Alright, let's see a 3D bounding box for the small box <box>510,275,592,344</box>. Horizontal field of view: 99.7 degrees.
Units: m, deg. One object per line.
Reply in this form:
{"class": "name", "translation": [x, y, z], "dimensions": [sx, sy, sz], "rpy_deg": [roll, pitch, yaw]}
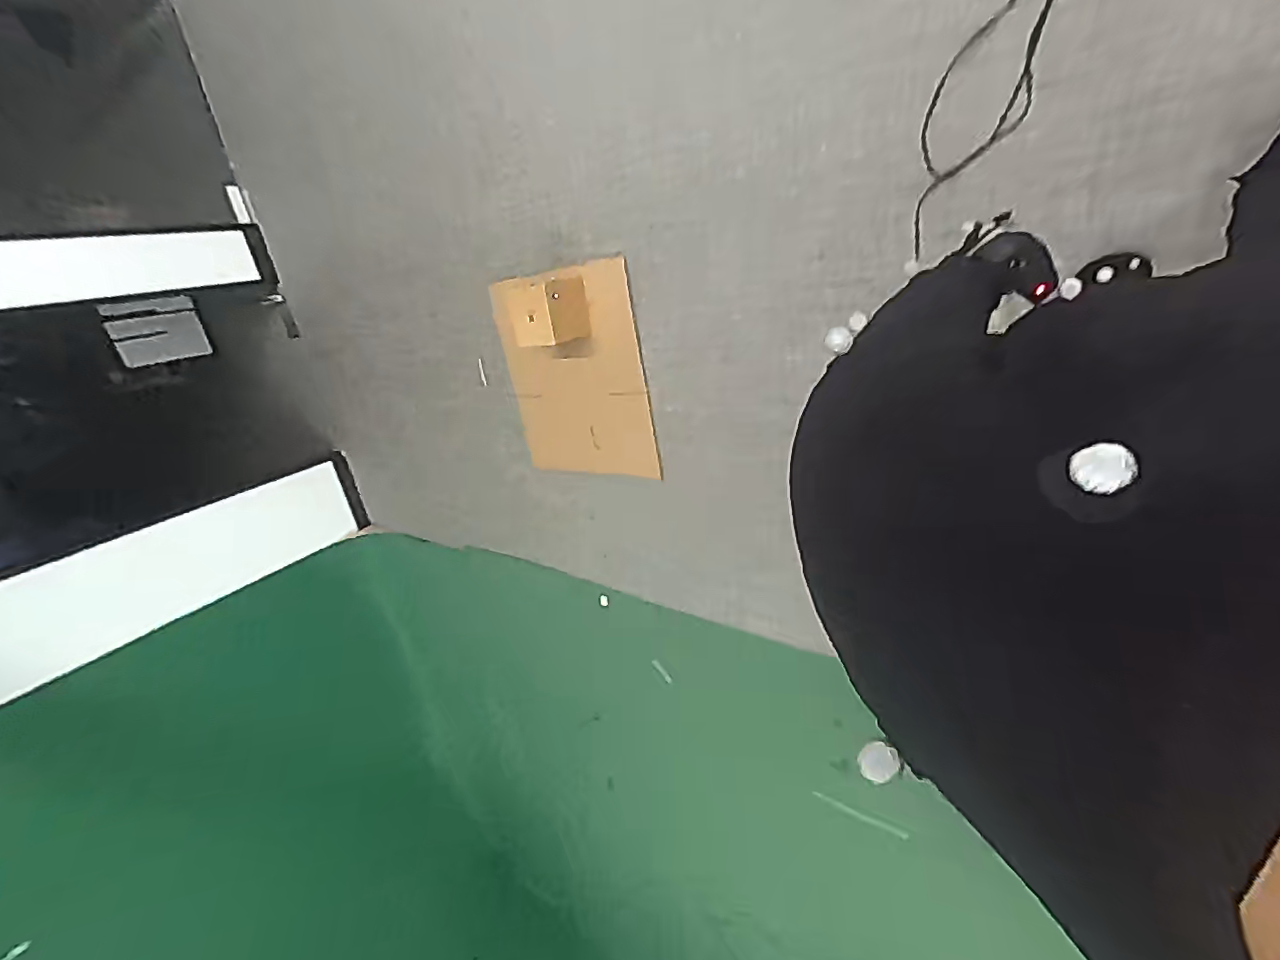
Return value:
{"class": "small box", "translation": [-0.266, -0.523, 1.662], "dimensions": [0.168, 0.176, 0.179], "rpy_deg": [8, 116, 36]}
